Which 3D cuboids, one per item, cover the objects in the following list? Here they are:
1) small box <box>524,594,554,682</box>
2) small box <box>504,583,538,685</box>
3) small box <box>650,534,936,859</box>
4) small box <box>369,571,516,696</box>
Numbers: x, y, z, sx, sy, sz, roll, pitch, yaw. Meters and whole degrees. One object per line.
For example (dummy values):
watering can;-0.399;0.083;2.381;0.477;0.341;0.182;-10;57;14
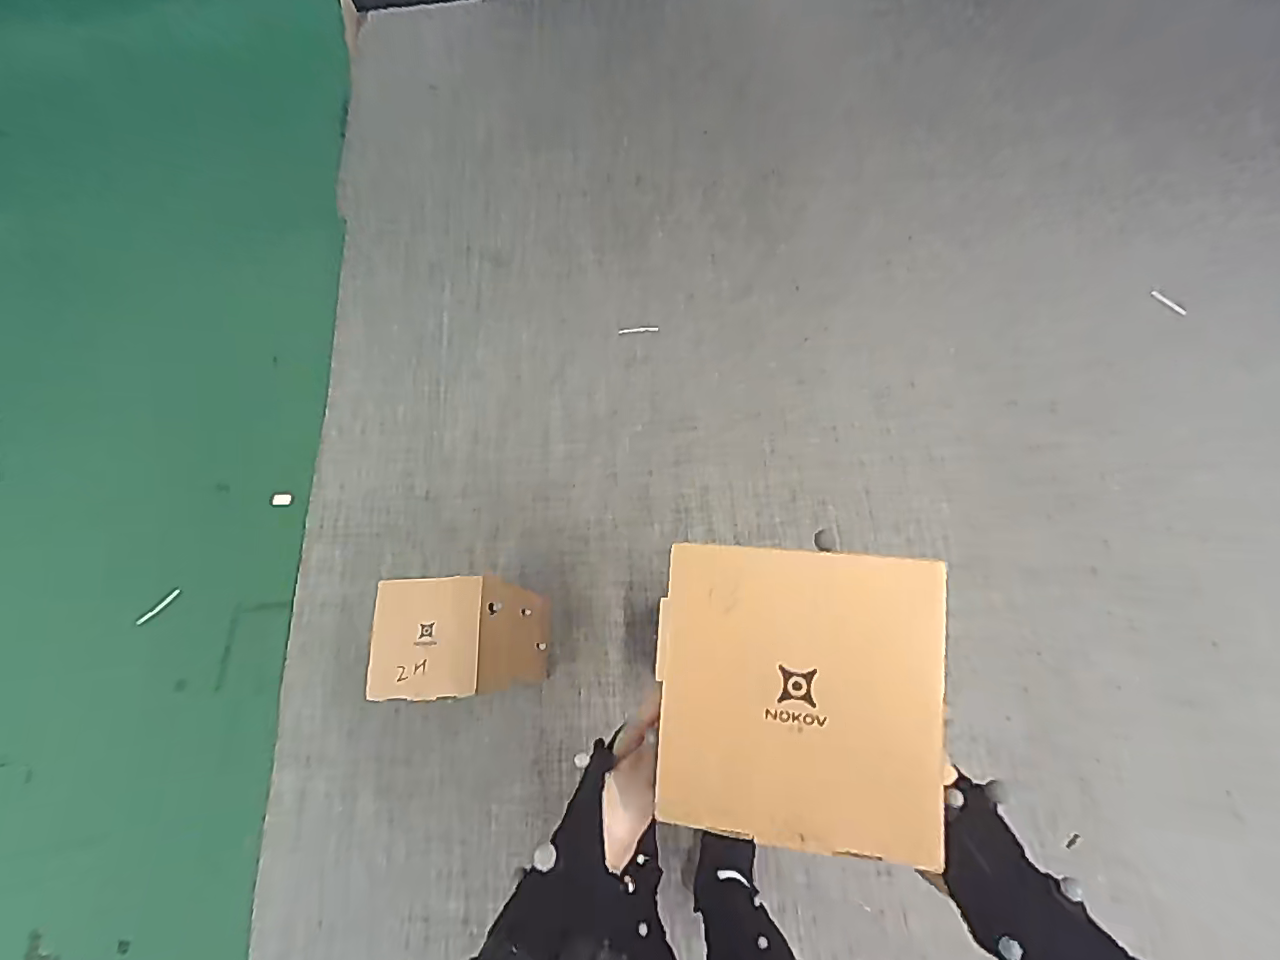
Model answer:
small box;-0.290;0.342;1.187;0.168;0.176;0.179;0;73;4
small box;-0.297;0.296;1.032;0.168;0.176;0.179;-4;74;4
small box;0.107;0.134;0.408;0.168;0.176;0.179;2;85;13
small box;-0.305;0.250;0.873;0.168;0.176;0.179;-4;72;4
